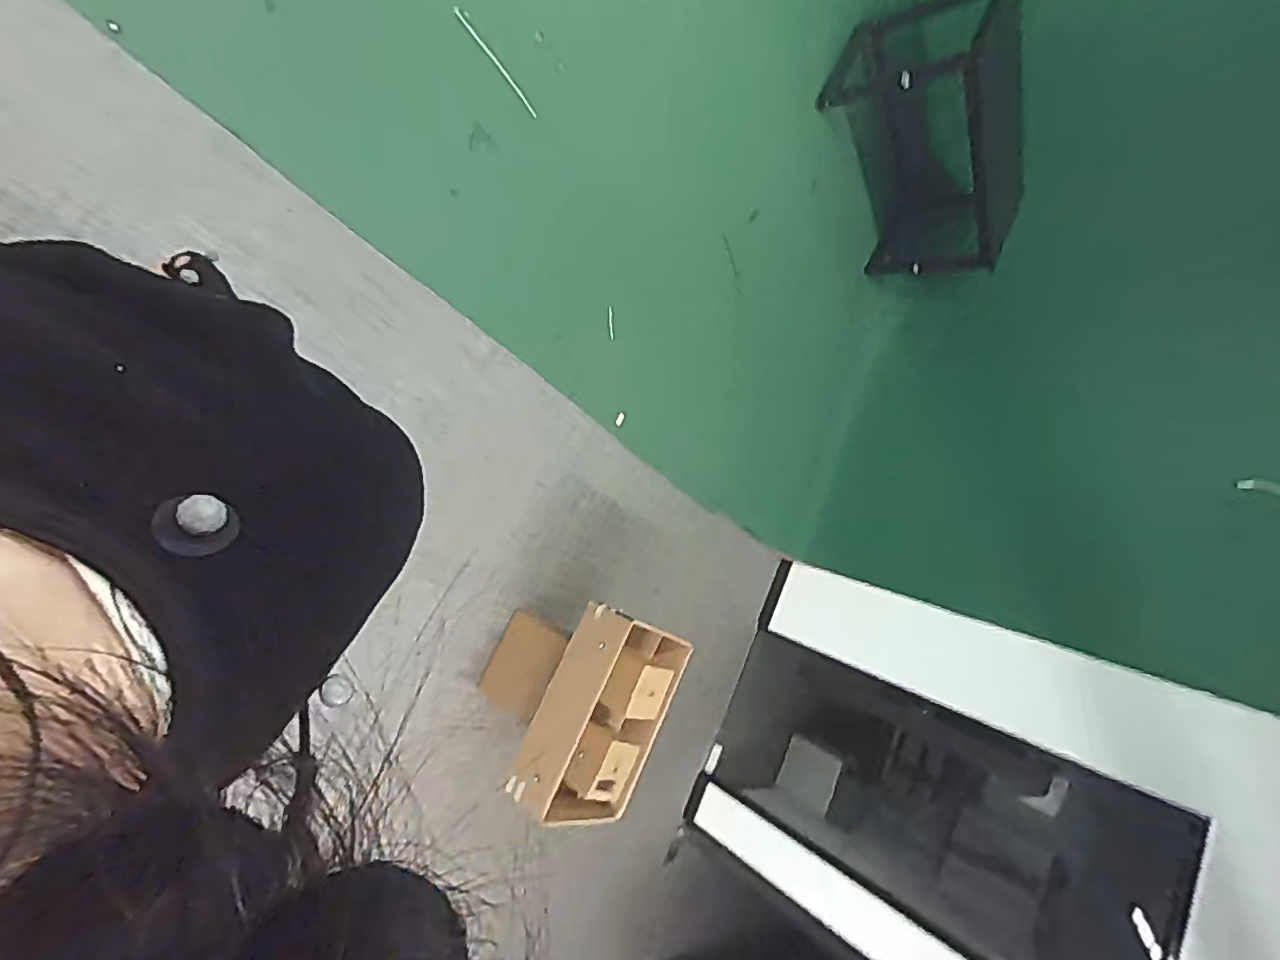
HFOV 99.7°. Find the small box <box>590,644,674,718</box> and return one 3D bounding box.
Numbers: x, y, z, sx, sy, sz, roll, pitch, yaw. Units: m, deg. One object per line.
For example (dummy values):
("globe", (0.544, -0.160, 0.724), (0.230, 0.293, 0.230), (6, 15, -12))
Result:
("small box", (-0.026, 0.646, 1.742), (0.179, 0.176, 0.168), (32, 77, -47))
